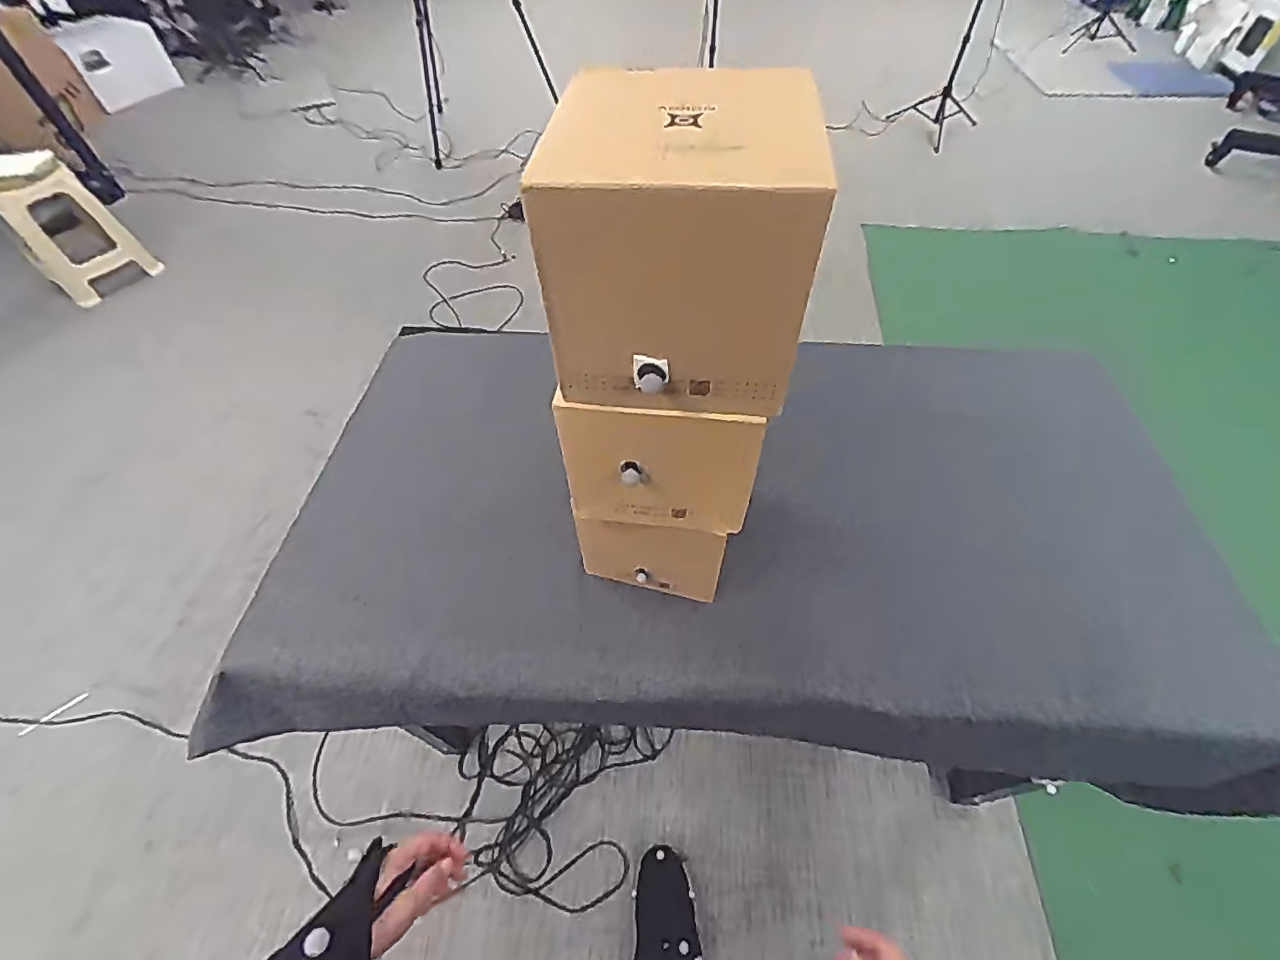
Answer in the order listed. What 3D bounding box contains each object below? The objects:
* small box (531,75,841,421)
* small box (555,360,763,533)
[{"bbox_3d":[0.032,-0.165,0.393,0.168,0.176,0.179,3,54,5],"label":"small box"},{"bbox_3d":[0.027,-0.066,0.523,0.168,0.176,0.179,5,53,5],"label":"small box"}]
